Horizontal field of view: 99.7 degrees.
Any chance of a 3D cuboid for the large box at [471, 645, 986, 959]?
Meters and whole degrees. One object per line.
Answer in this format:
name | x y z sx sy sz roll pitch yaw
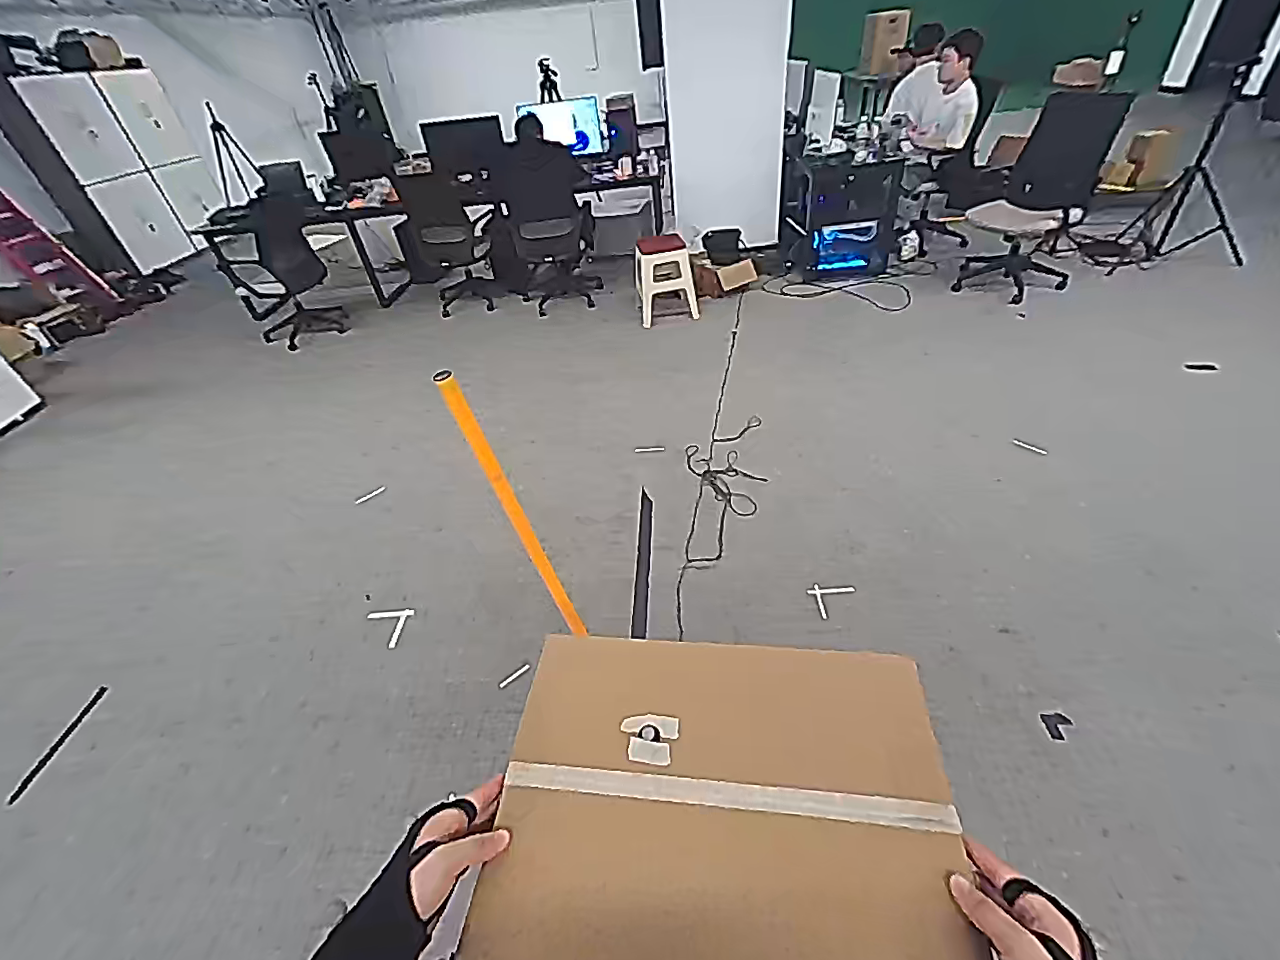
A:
large box | 0.093 0.406 0.604 0.408 0.320 0.320 -1 40 10
